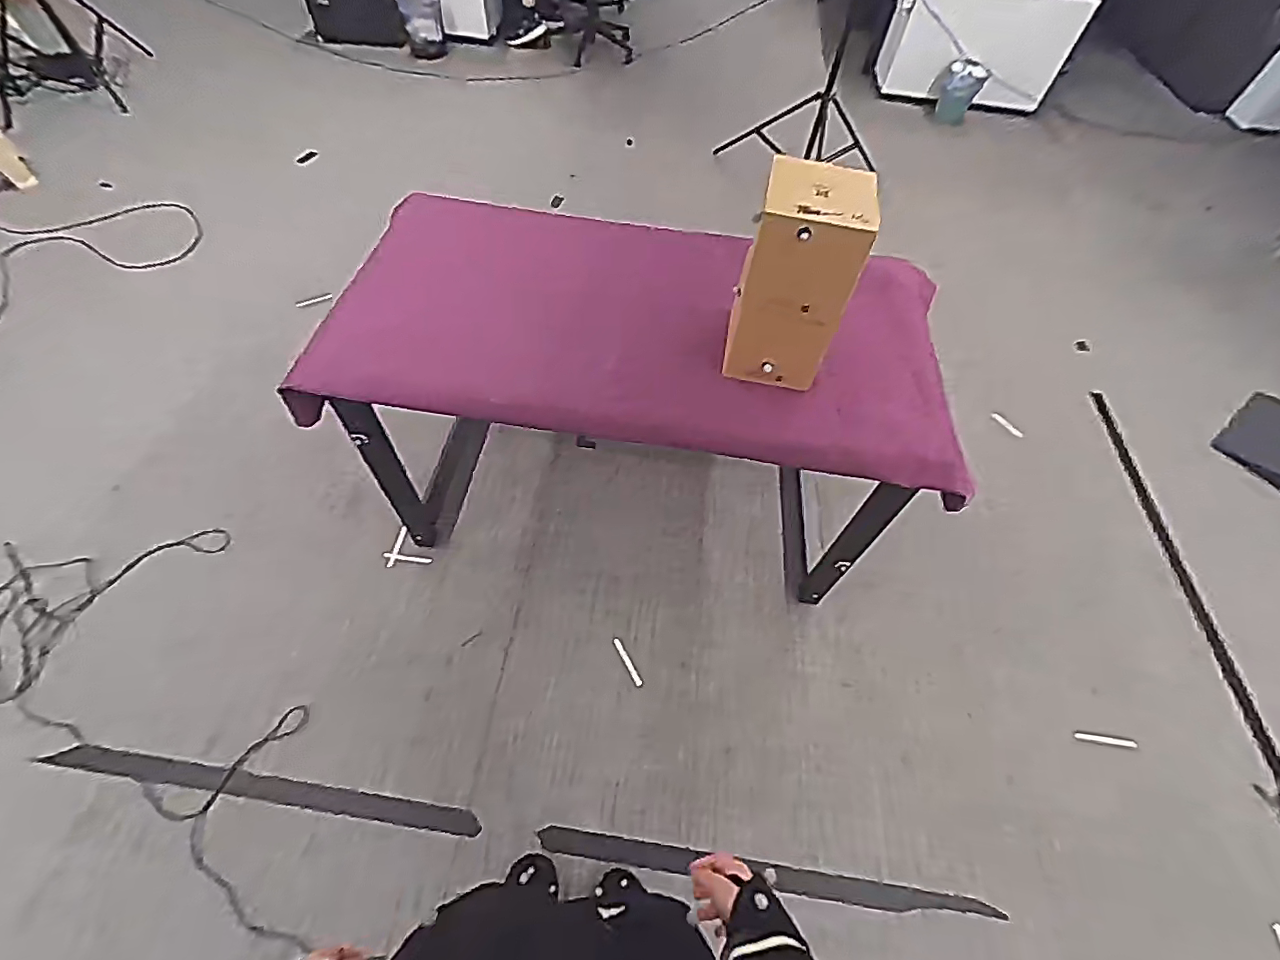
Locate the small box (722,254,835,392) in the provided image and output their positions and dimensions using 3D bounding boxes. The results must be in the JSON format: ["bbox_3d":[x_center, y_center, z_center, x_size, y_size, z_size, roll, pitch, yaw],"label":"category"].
[{"bbox_3d":[0.255,-0.295,1.017,0.168,0.176,0.179,10,56,3],"label":"small box"}]

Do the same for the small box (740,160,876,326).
[{"bbox_3d":[0.265,-0.382,0.878,0.168,0.176,0.179,12,55,4],"label":"small box"}]
